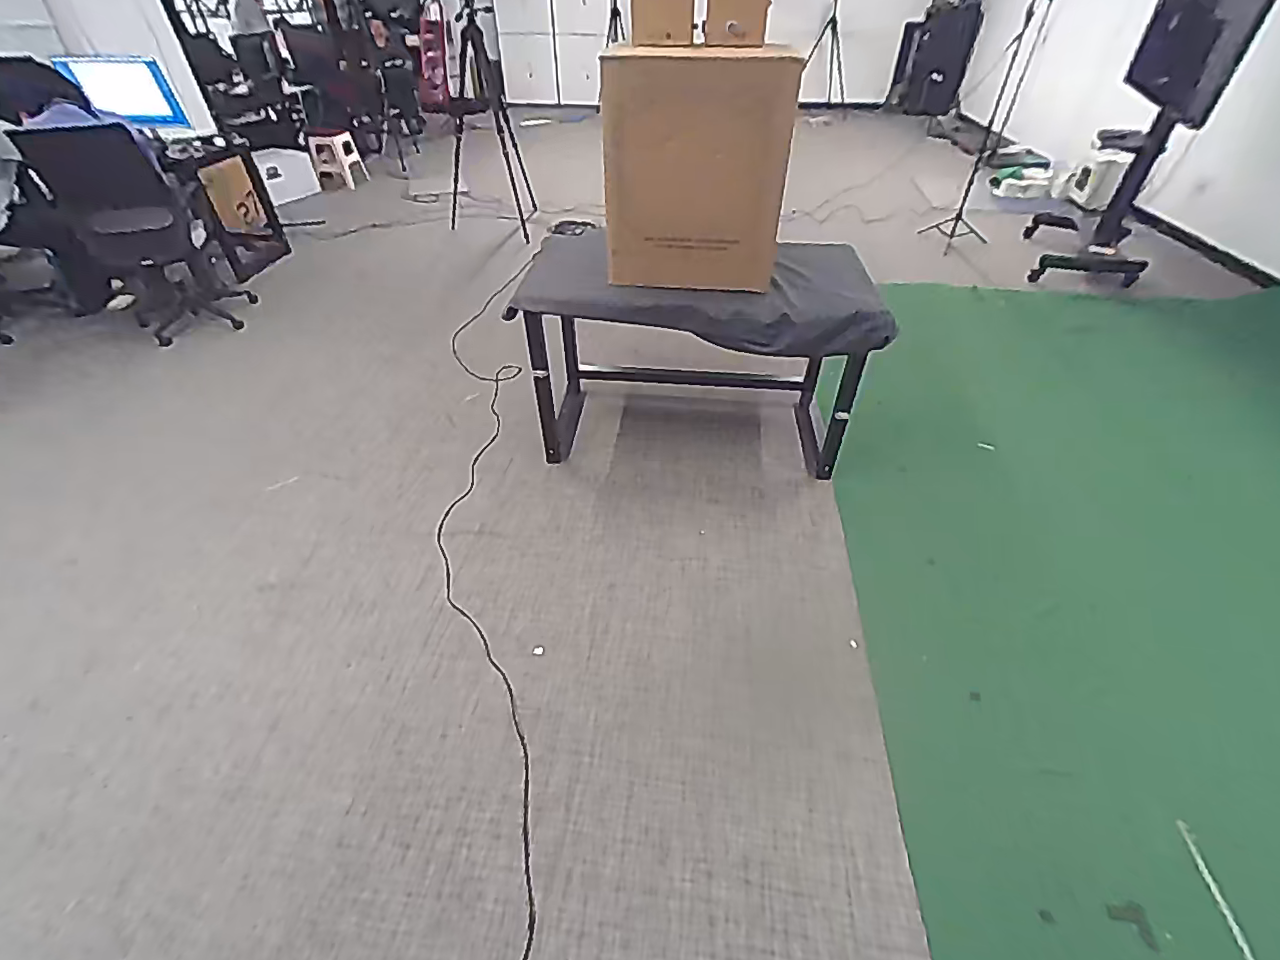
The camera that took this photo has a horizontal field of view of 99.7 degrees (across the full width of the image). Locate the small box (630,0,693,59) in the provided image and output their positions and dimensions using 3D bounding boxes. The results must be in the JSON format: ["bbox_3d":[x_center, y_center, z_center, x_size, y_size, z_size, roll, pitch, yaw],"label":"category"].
[{"bbox_3d":[0.063,-1.301,1.524,0.168,0.176,0.179,3,40,6],"label":"small box"}]
